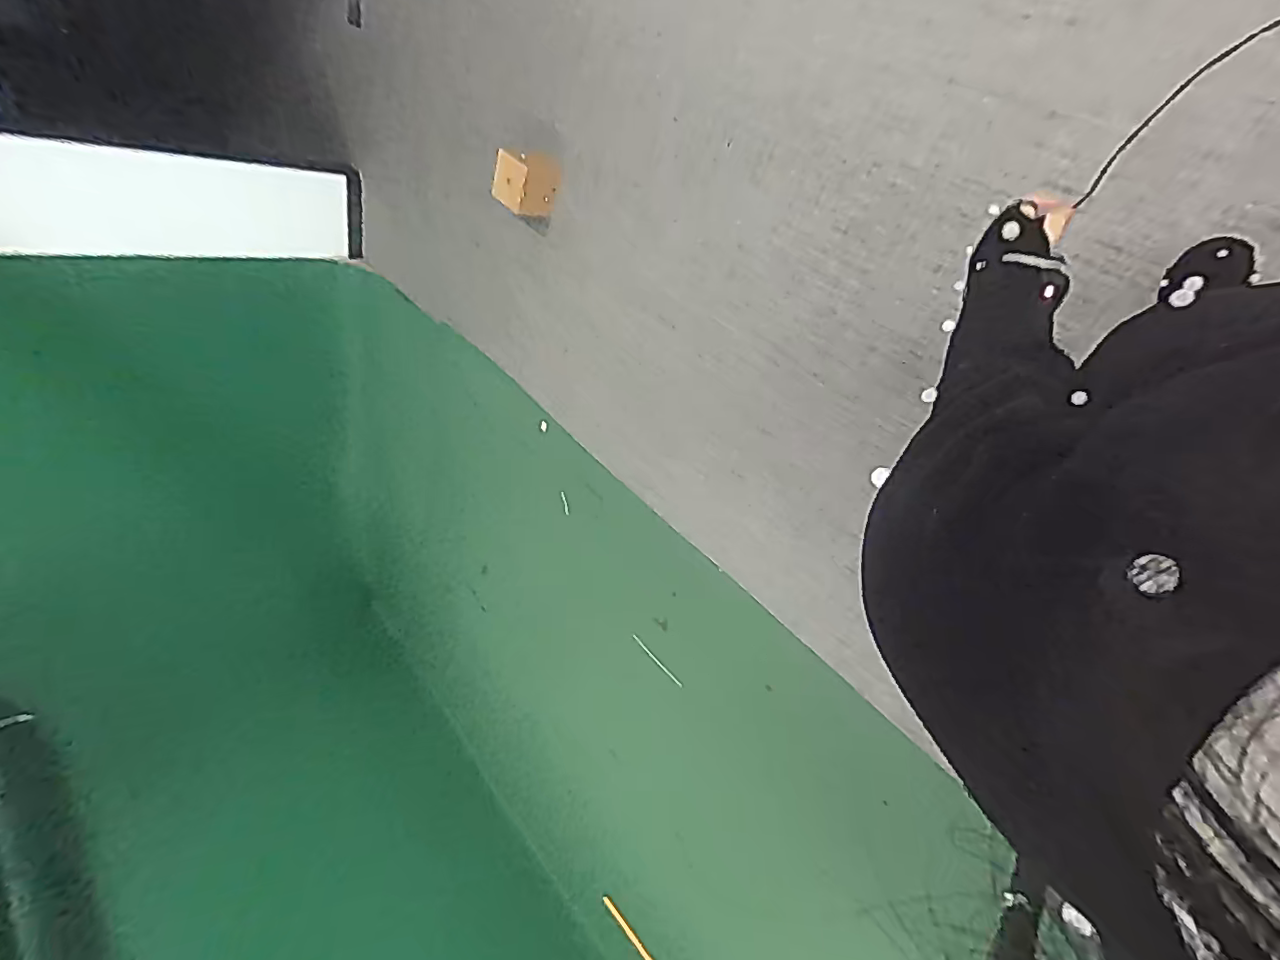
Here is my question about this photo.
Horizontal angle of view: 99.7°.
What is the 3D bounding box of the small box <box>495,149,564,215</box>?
[{"bbox_3d":[-0.418,-1.113,2.034,0.179,0.176,0.168,43,132,23],"label":"small box"}]
